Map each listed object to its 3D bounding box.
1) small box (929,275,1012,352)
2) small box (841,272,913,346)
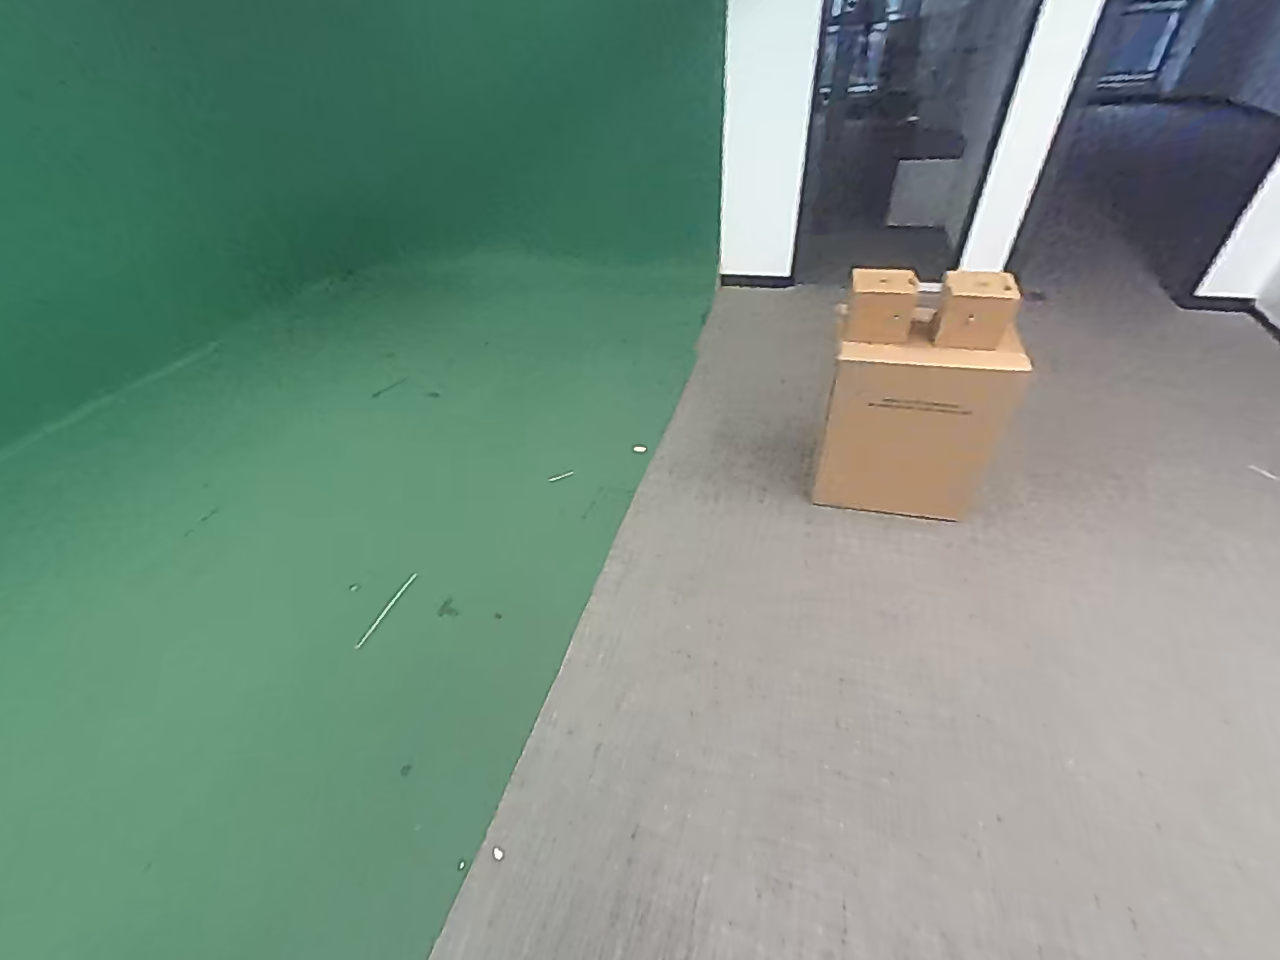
[{"bbox_3d":[0.997,-0.508,1.652,0.179,0.176,0.168,8,47,15],"label":"small box"},{"bbox_3d":[0.745,-0.540,1.713,0.179,0.176,0.168,6,45,13],"label":"small box"}]
